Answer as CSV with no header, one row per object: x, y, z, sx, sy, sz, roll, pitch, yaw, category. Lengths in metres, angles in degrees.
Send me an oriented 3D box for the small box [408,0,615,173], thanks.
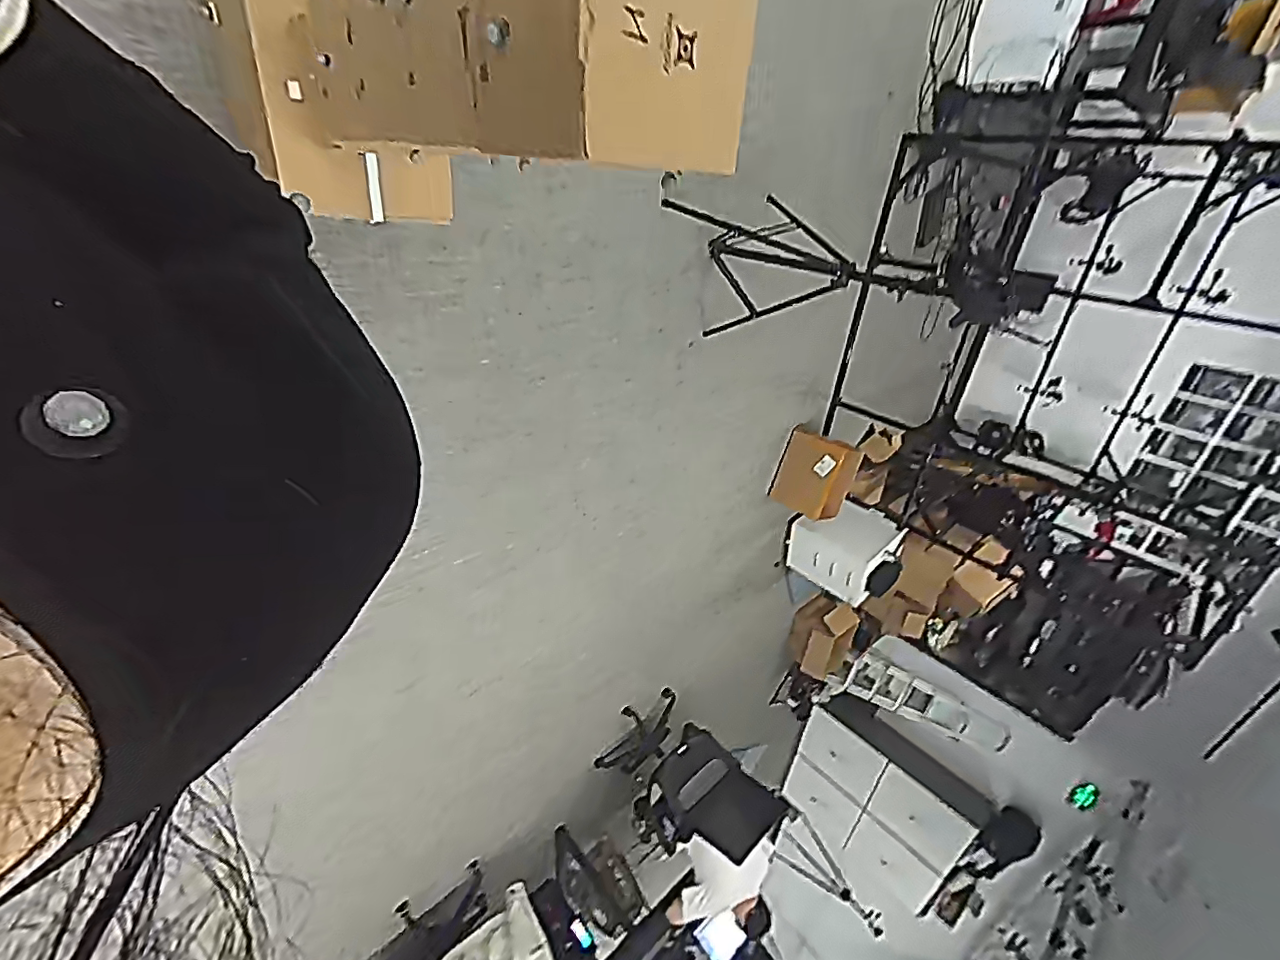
-0.131,-0.432,0.573,0.179,0.176,0.168,-18,127,-39,small box

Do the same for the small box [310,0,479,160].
-0.345,-0.569,0.781,0.179,0.176,0.168,-19,127,-36,small box

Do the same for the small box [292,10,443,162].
-0.447,-0.634,0.889,0.168,0.176,0.179,-21,129,-36,small box

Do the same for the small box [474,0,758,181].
-0.024,-0.363,0.468,0.179,0.176,0.168,-20,127,-36,small box
